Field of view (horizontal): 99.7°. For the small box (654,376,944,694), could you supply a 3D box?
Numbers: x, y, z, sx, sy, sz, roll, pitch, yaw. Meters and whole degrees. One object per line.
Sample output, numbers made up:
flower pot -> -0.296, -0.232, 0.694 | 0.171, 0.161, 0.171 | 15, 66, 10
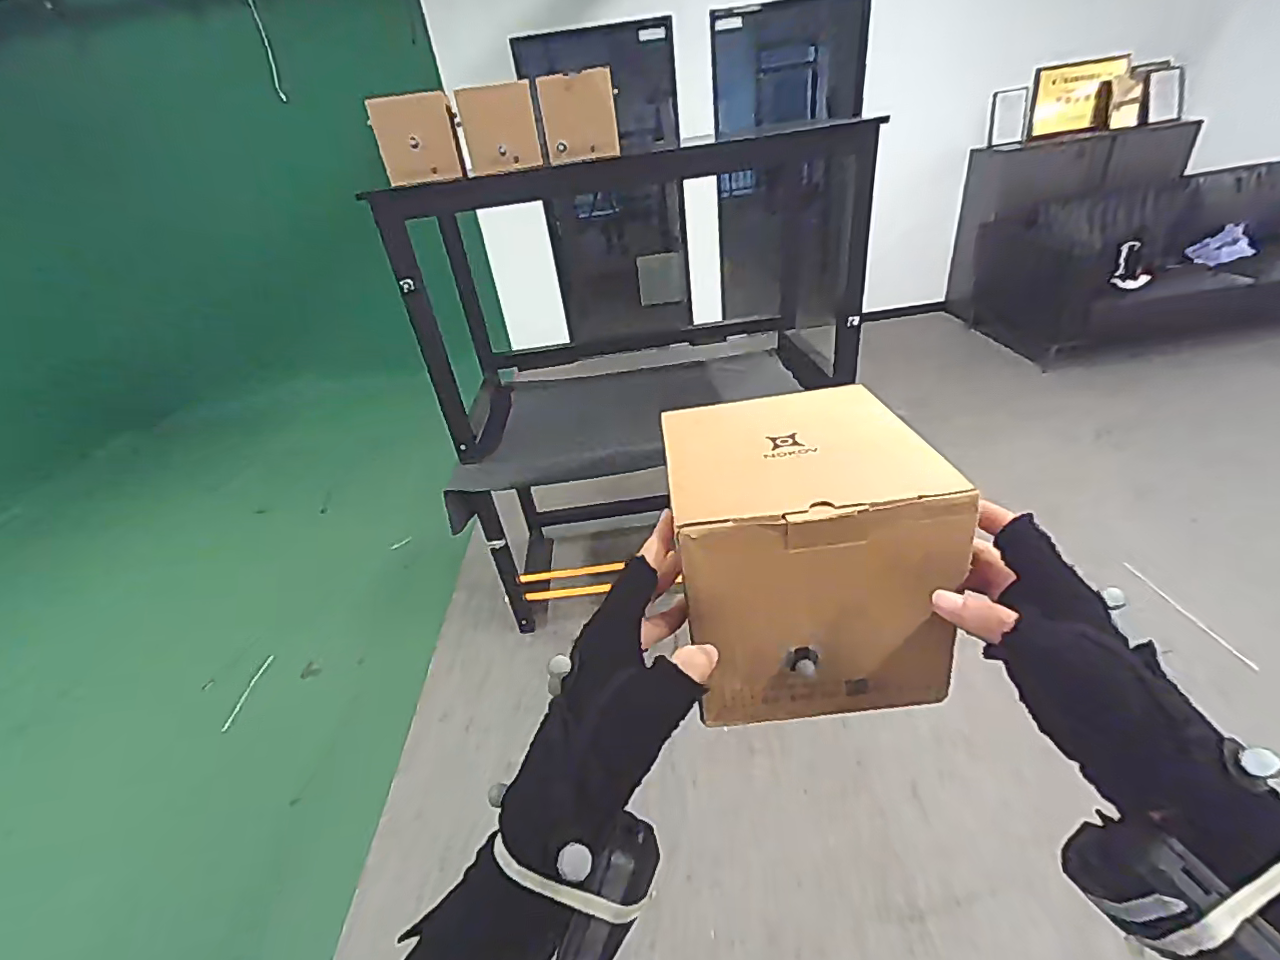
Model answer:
small box -> 0.101, 0.034, 0.417 | 0.168, 0.176, 0.179 | -8, 28, 4

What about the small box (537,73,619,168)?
small box -> -0.142, -0.864, 1.312 | 0.168, 0.176, 0.179 | -7, 31, 2

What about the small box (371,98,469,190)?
small box -> -0.520, -0.806, 1.308 | 0.168, 0.176, 0.179 | -10, 32, -6
